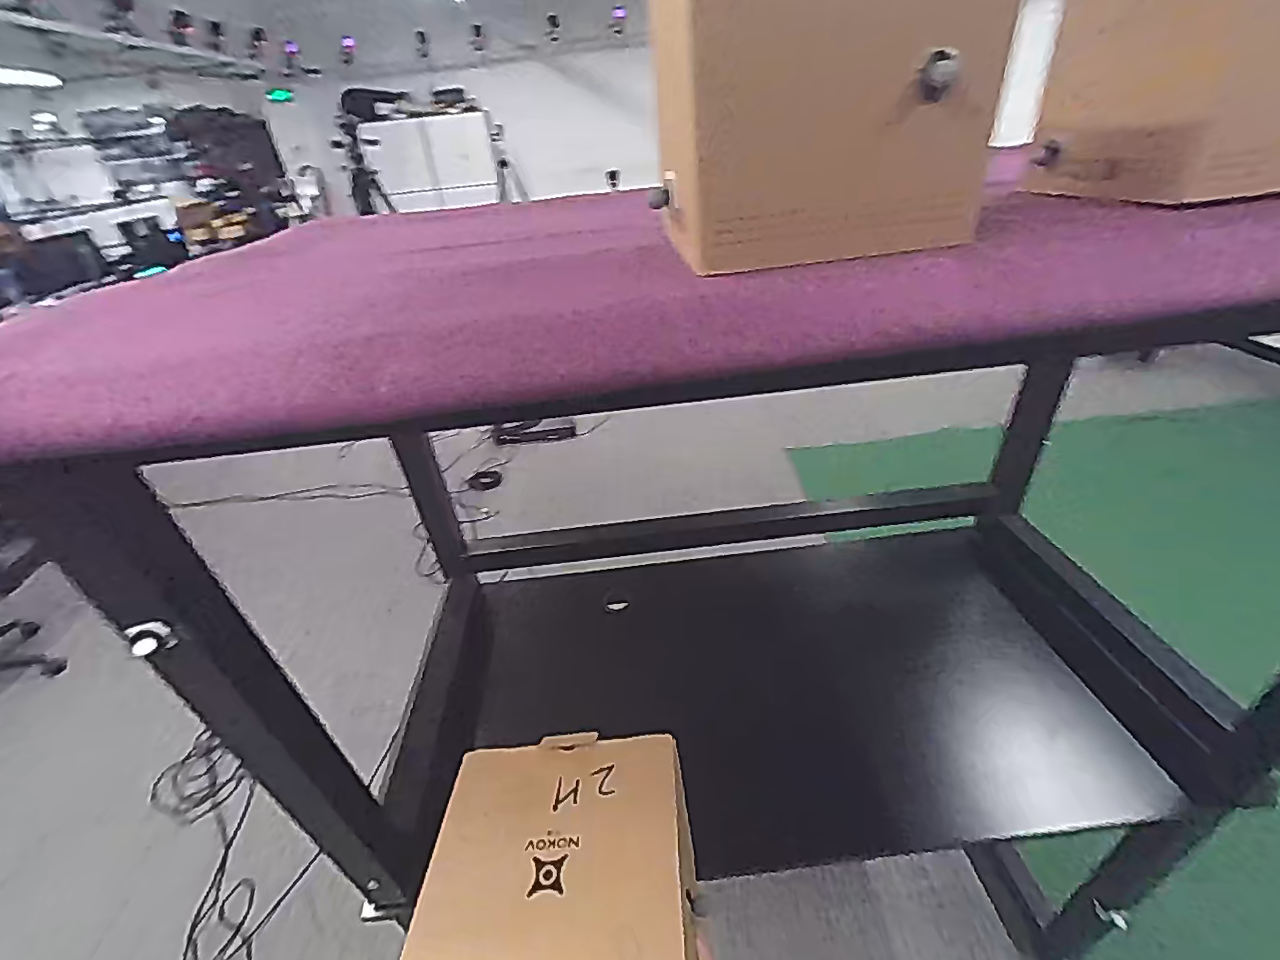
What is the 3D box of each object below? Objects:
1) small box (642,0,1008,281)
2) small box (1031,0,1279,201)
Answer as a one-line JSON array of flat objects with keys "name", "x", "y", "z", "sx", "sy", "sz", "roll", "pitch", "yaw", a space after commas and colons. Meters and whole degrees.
[{"name": "small box", "x": 0.100, "y": -0.243, "z": 0.355, "sx": 0.179, "sy": 0.176, "sz": 0.168, "roll": -9, "pitch": 33, "yaw": -2}, {"name": "small box", "x": 0.417, "y": -0.302, "z": 0.380, "sx": 0.179, "sy": 0.176, "sz": 0.168, "roll": -6, "pitch": 32, "yaw": 1}]
